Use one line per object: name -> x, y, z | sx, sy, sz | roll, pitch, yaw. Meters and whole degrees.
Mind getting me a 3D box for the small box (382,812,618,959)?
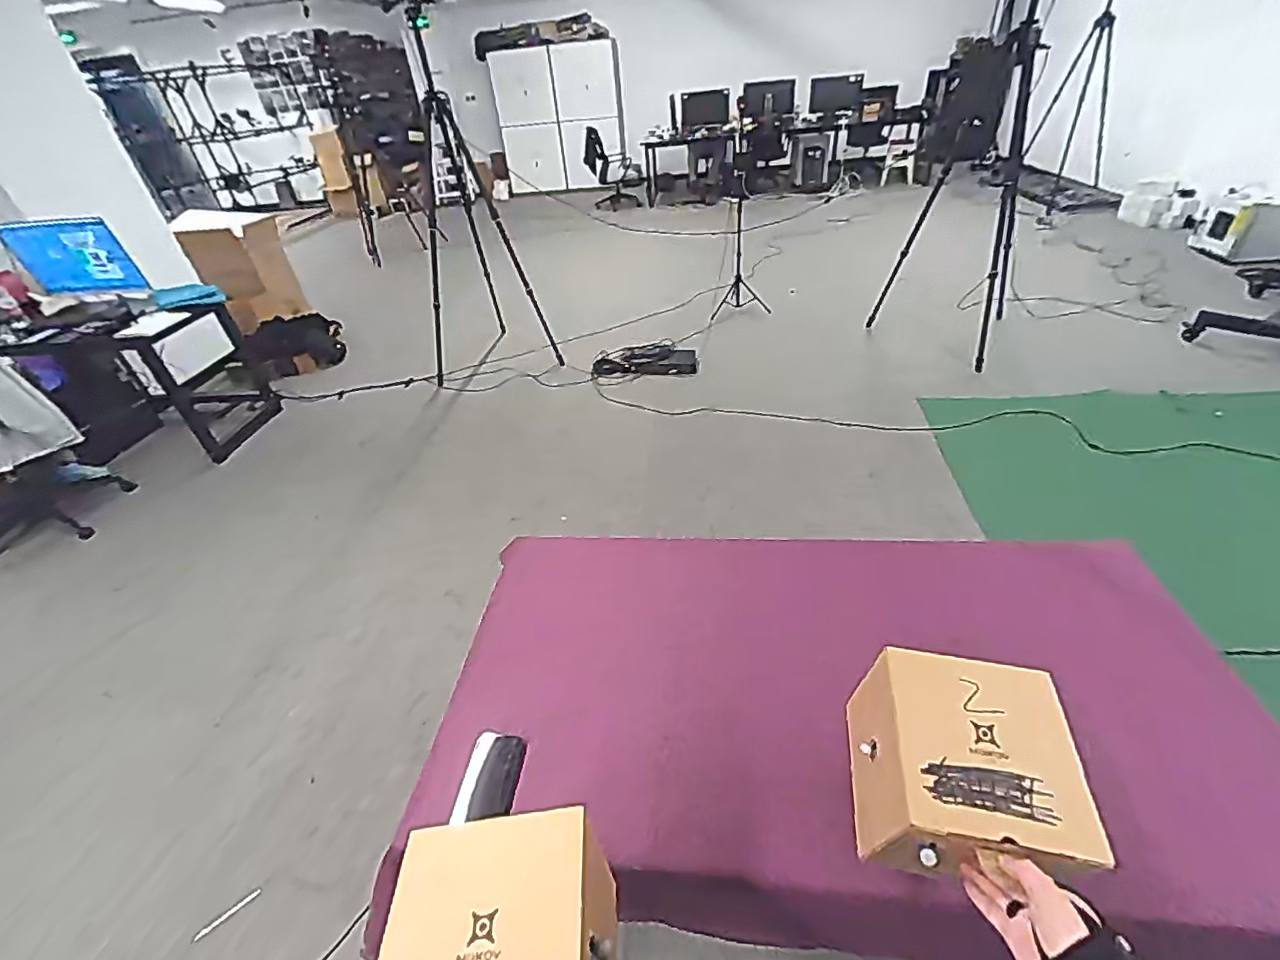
small box -> -0.112, 0.428, 0.471 | 0.168, 0.176, 0.179 | -8, 34, 1
